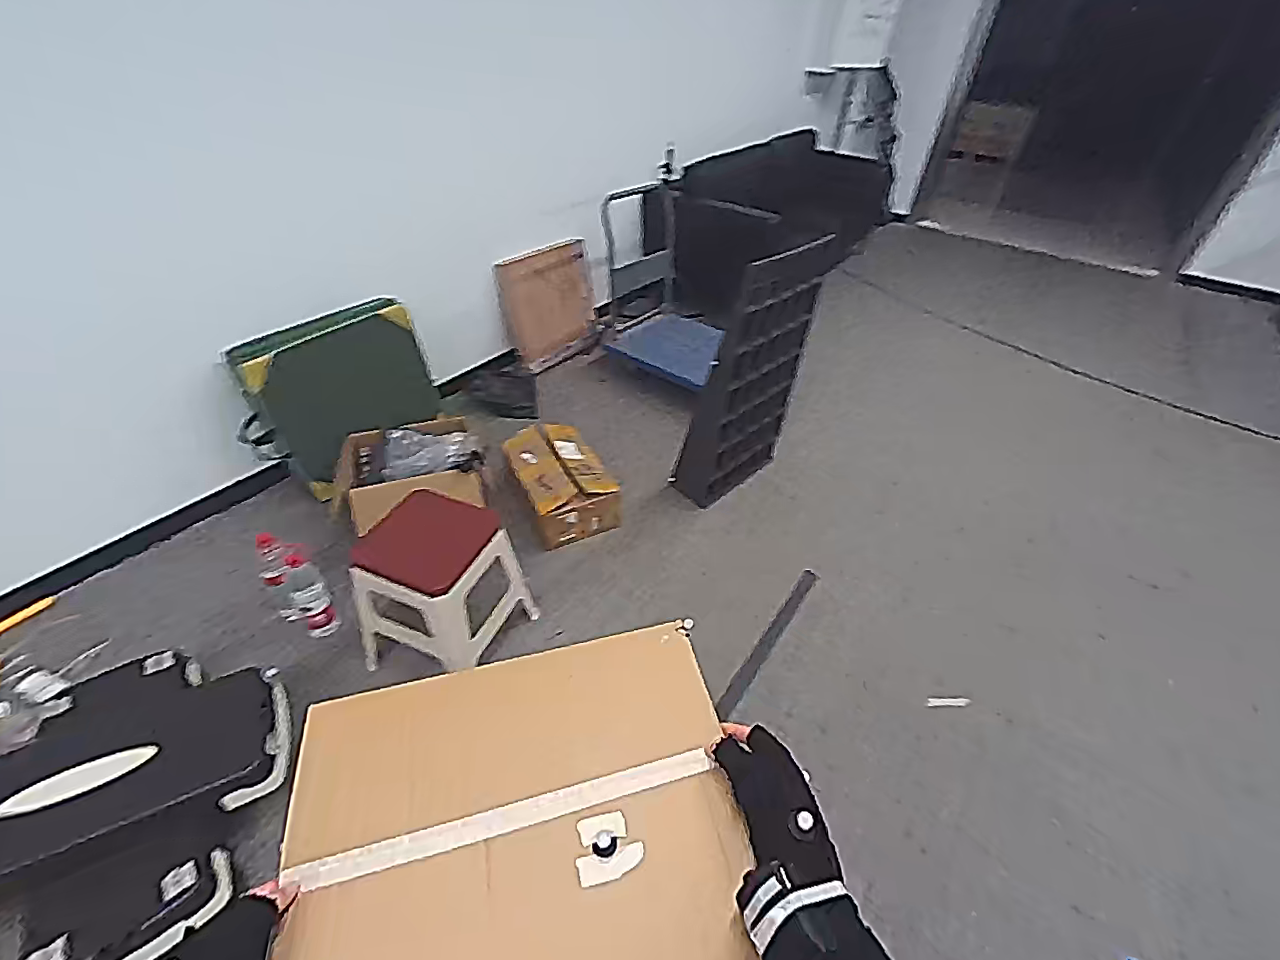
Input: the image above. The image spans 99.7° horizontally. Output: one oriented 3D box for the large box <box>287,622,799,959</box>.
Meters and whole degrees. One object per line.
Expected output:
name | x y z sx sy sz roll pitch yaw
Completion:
large box | -0.103 0.410 0.601 0.408 0.320 0.320 -9 45 -11
